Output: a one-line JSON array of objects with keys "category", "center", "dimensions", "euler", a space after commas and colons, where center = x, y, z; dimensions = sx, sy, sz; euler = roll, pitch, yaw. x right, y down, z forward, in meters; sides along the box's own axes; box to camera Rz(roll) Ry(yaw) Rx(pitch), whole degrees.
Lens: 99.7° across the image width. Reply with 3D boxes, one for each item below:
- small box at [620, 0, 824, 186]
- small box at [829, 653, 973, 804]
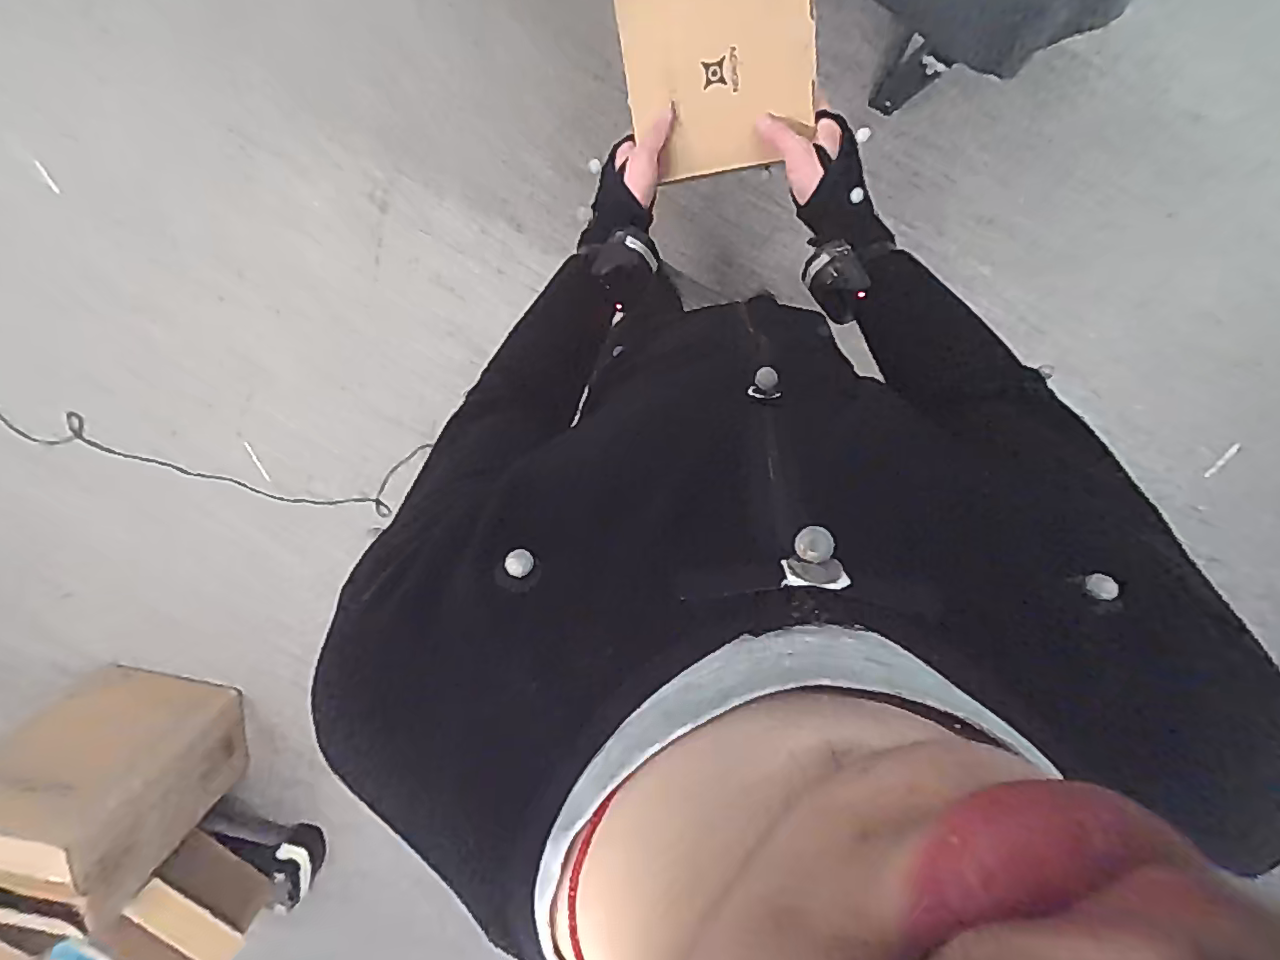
[{"category": "small box", "center": [0.087, -0.416, 0.566], "dimensions": [0.179, 0.176, 0.168], "euler": [-5, 117, 11]}, {"category": "small box", "center": [0.495, 0.482, 1.062], "dimensions": [0.168, 0.176, 0.179], "euler": [28, 112, -8]}]
